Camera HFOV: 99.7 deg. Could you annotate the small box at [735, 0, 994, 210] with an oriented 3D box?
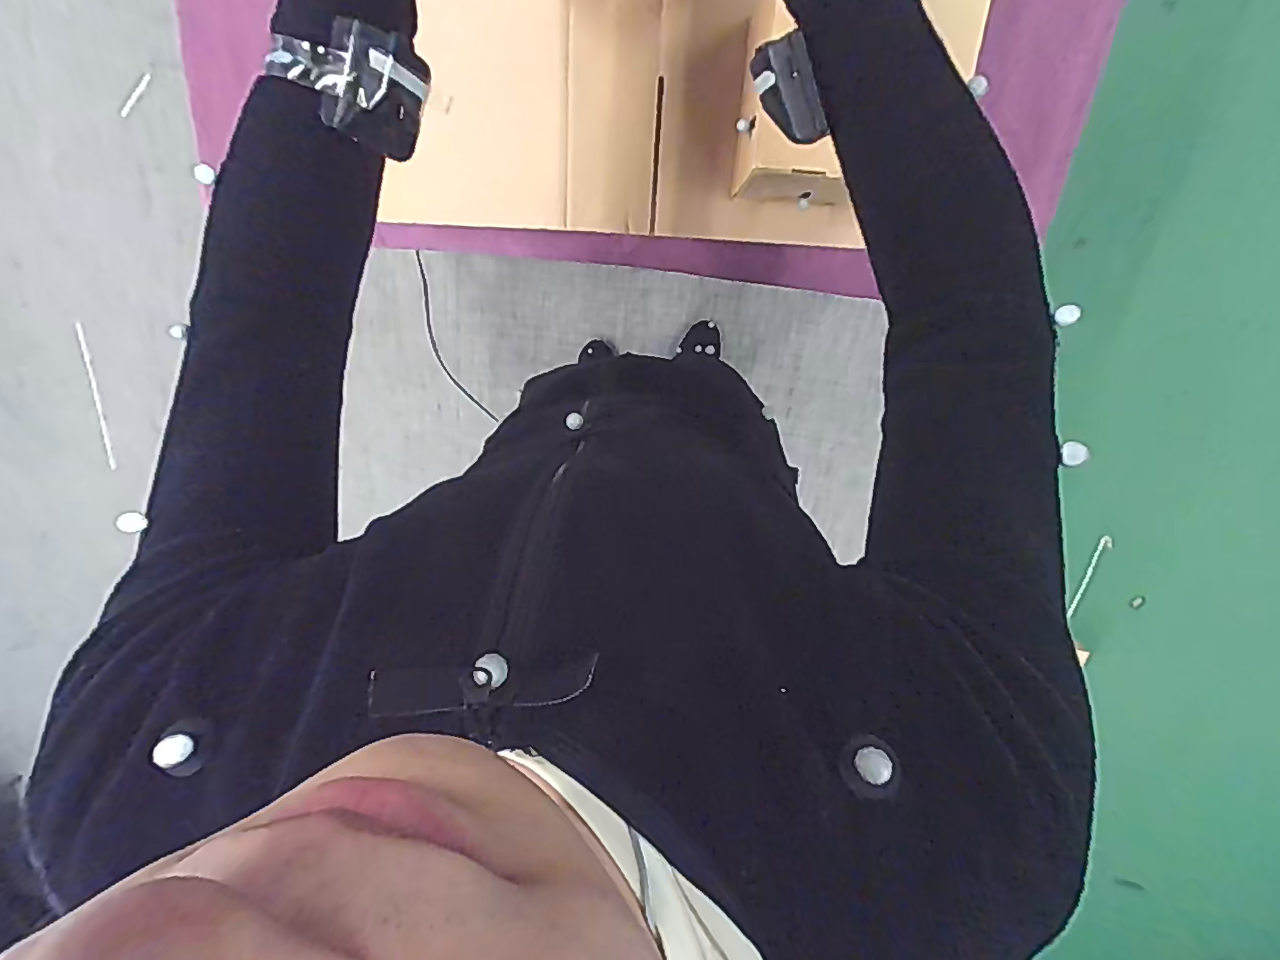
[{"bbox_3d":[0.185,-0.360,0.497,0.168,0.176,0.179,4,111,1],"label":"small box"}]
